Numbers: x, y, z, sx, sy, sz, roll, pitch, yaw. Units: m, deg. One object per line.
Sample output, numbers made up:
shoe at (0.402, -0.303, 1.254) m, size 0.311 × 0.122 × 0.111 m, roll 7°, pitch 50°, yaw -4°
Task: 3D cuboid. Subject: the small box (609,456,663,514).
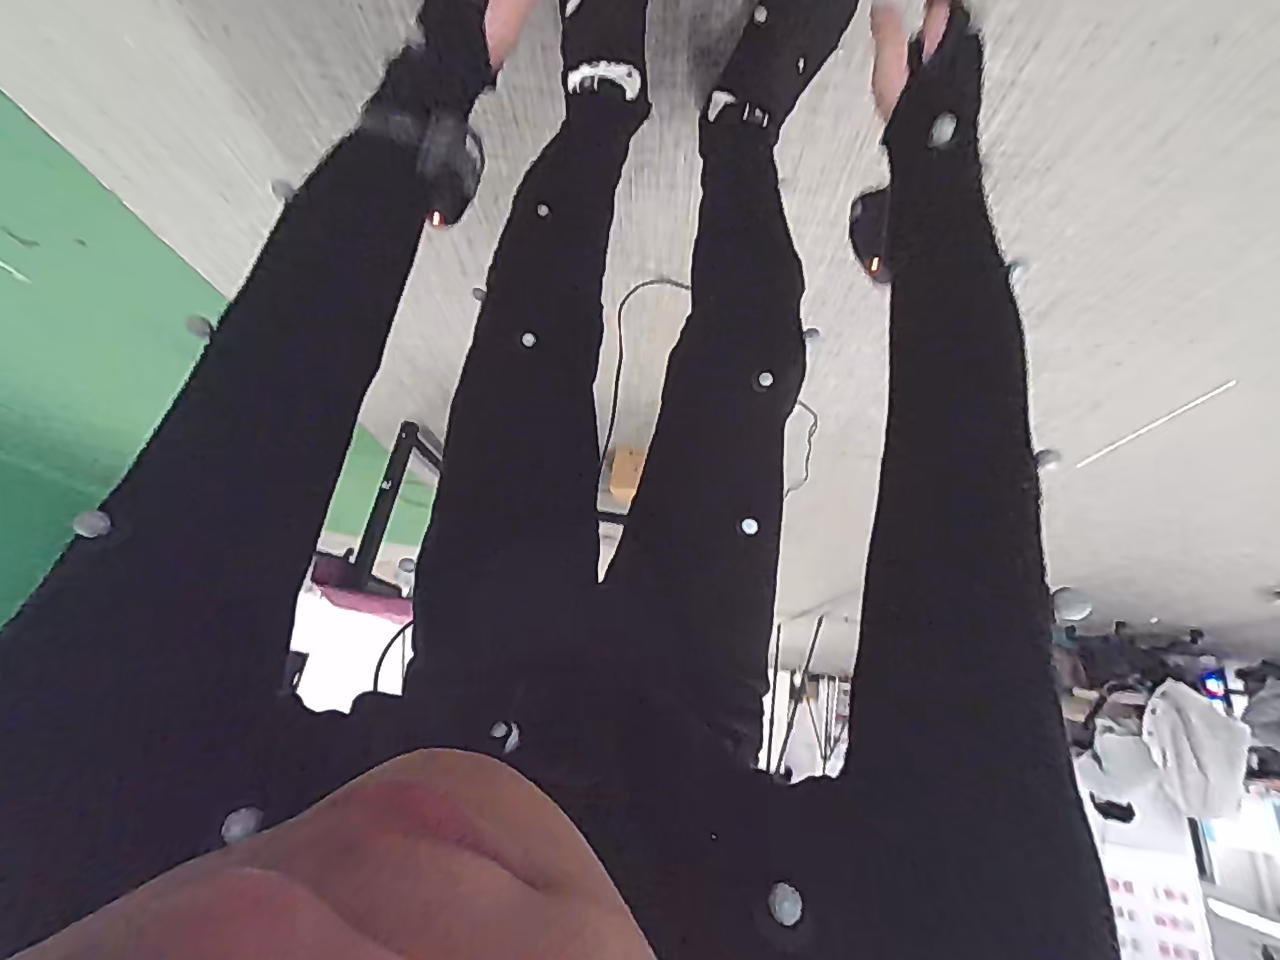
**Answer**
small box at (-0.011, 0.016, 2.069) m, size 0.168 × 0.176 × 0.179 m, roll 4°, pitch 158°, yaw 12°
